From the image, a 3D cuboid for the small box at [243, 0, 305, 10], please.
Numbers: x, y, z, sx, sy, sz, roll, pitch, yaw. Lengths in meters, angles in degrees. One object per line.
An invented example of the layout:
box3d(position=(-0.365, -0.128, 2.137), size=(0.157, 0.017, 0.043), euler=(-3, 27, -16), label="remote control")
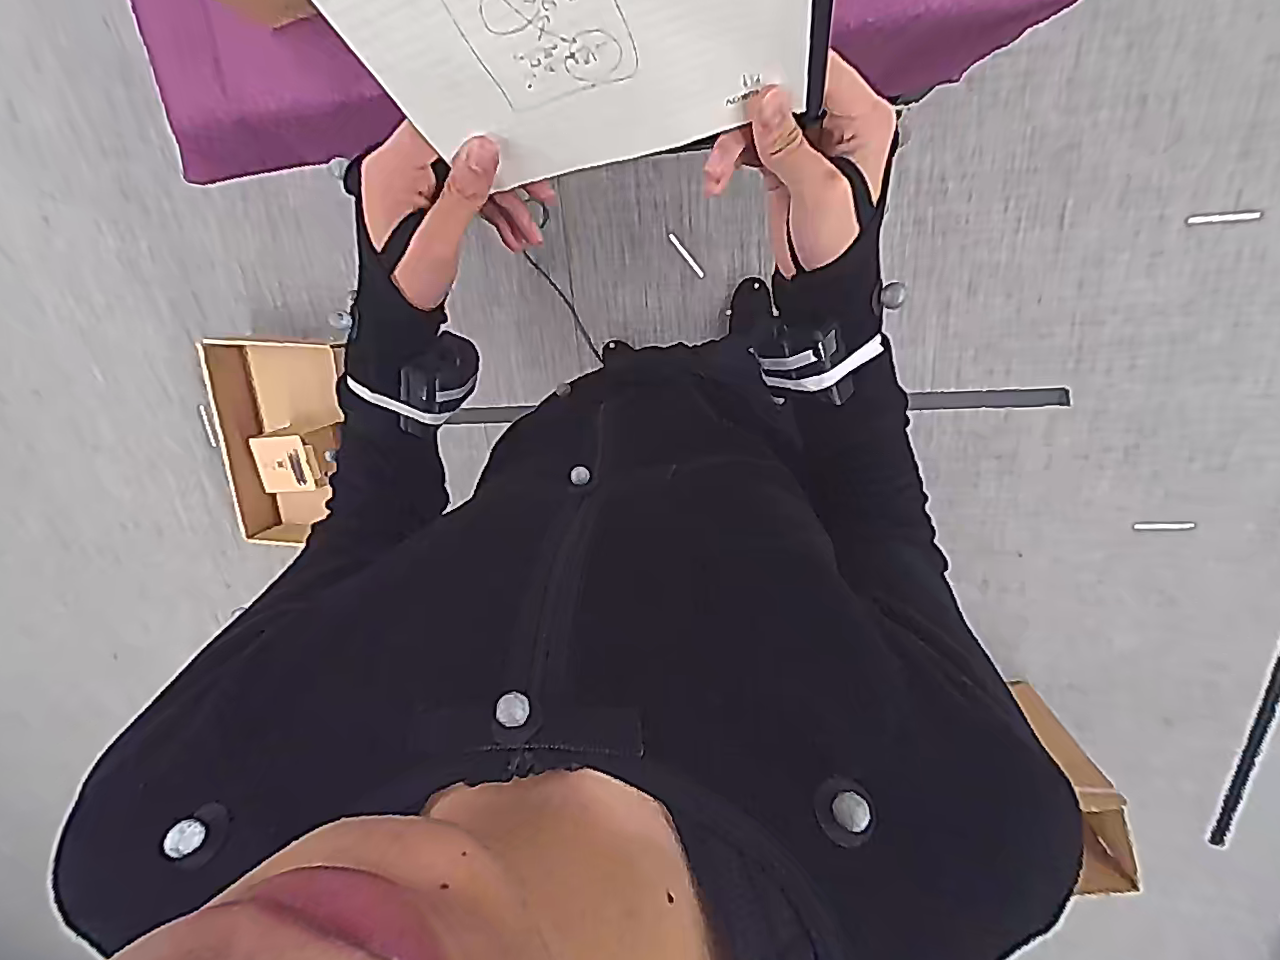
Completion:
box3d(position=(-0.450, -0.682, 0.612), size=(0.168, 0.176, 0.179), euler=(-10, 108, 9), label="small box")
